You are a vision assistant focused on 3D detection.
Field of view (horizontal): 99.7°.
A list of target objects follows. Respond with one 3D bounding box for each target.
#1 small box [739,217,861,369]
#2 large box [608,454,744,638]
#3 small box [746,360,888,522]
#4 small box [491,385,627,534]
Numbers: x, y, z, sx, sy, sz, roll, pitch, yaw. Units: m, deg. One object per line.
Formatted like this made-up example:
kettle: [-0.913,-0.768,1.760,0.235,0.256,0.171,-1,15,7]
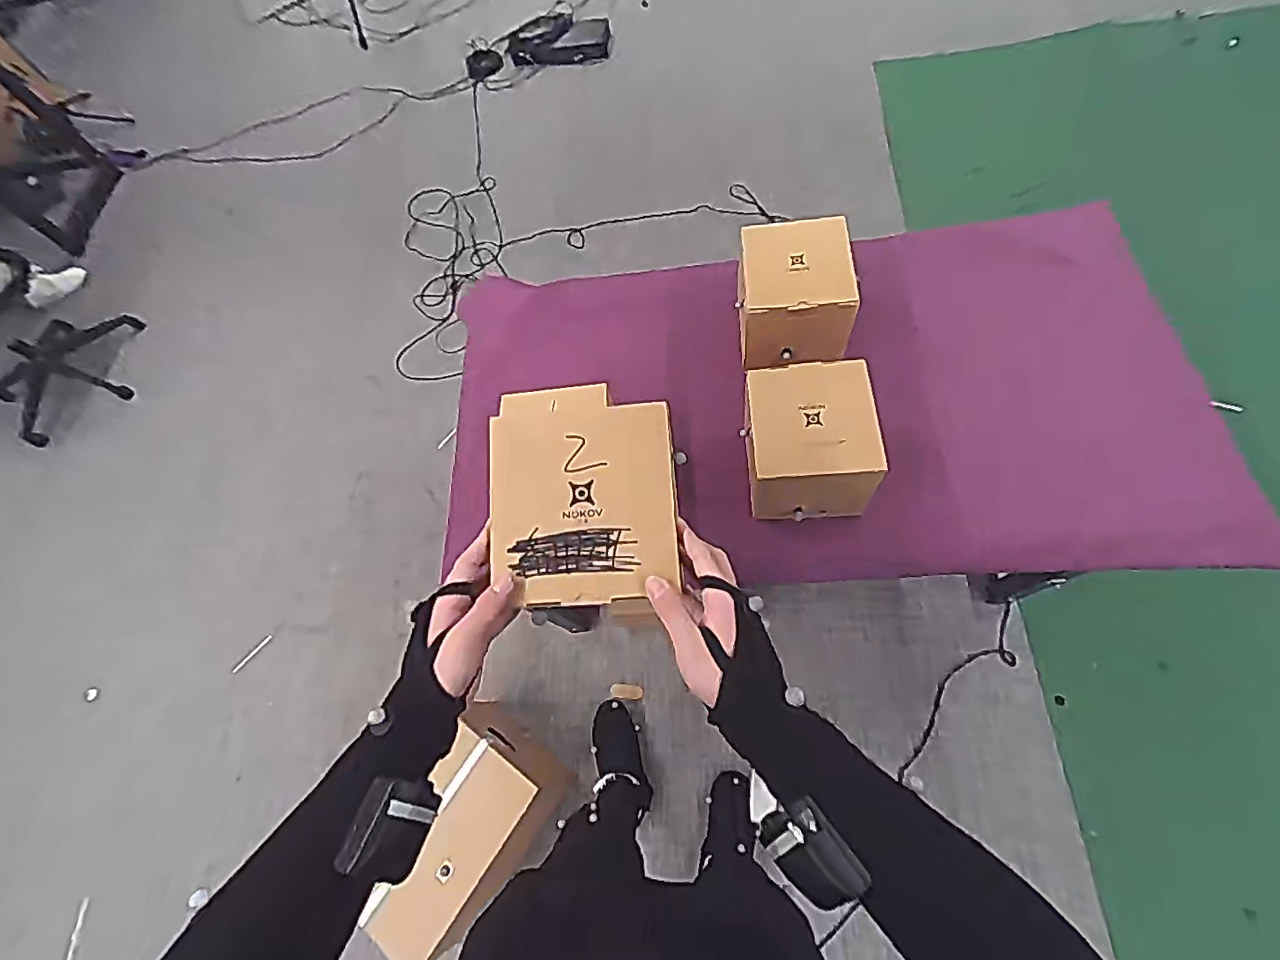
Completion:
small box: [0.254,-0.302,0.901,0.168,0.176,0.179,-3,67,8]
large box: [0.099,0.188,1.444,0.320,0.320,0.408,-4,65,7]
small box: [0.244,-0.050,0.791,0.168,0.176,0.179,-4,65,9]
small box: [-0.115,-0.021,0.838,0.168,0.176,0.179,-5,64,7]
